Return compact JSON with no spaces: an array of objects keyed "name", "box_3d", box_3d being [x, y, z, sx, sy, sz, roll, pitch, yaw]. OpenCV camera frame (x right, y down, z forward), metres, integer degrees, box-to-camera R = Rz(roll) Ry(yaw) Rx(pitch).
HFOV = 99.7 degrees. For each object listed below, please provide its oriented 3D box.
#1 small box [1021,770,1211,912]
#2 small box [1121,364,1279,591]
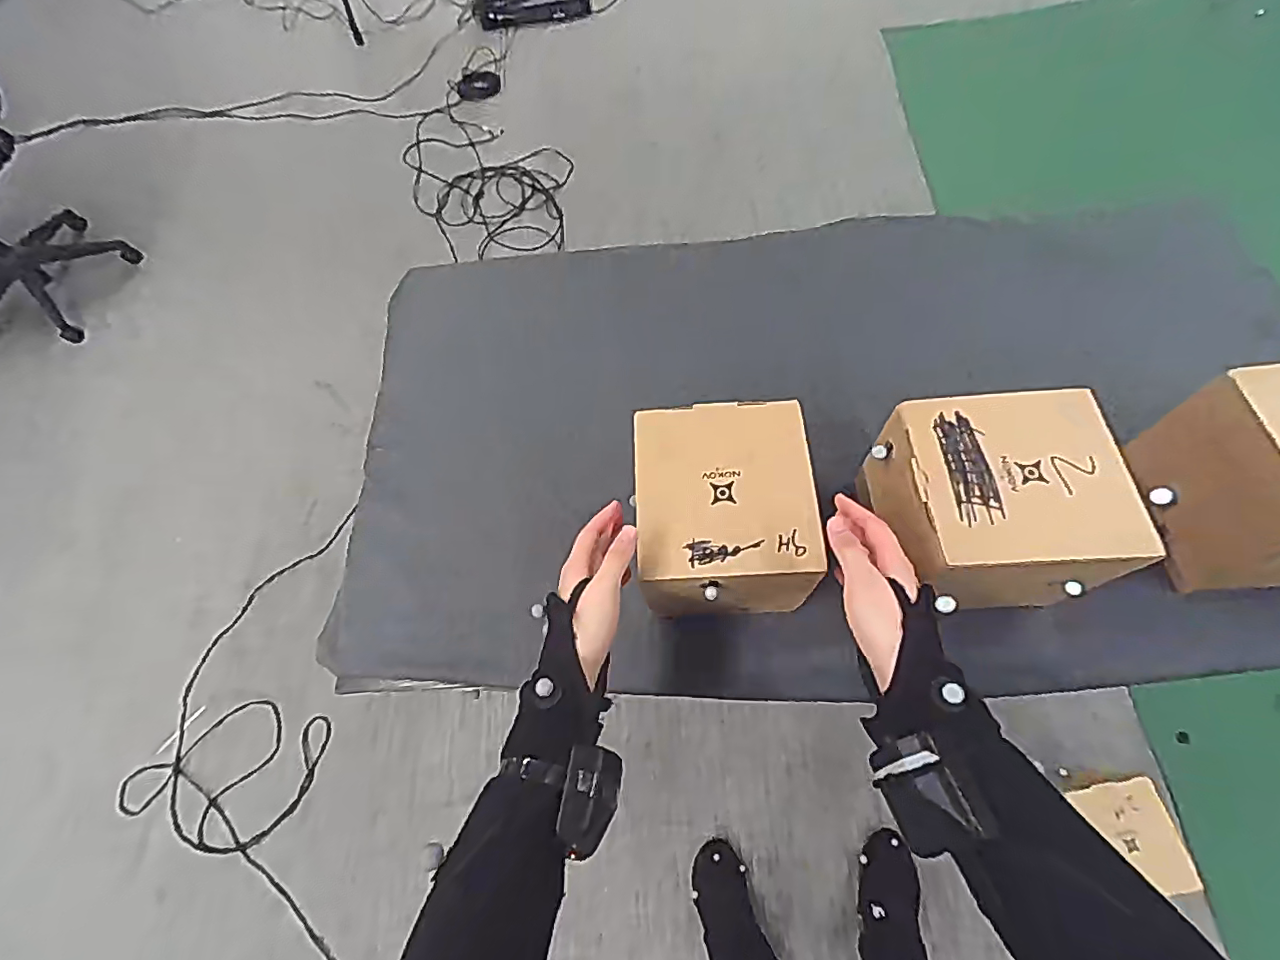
[{"name":"small box","box_3d":[0.866,0.659,1.006,0.168,0.176,0.179,-12,66,1]},{"name":"small box","box_3d":[0.630,0.002,0.513,0.179,0.176,0.168,-5,63,7]}]
